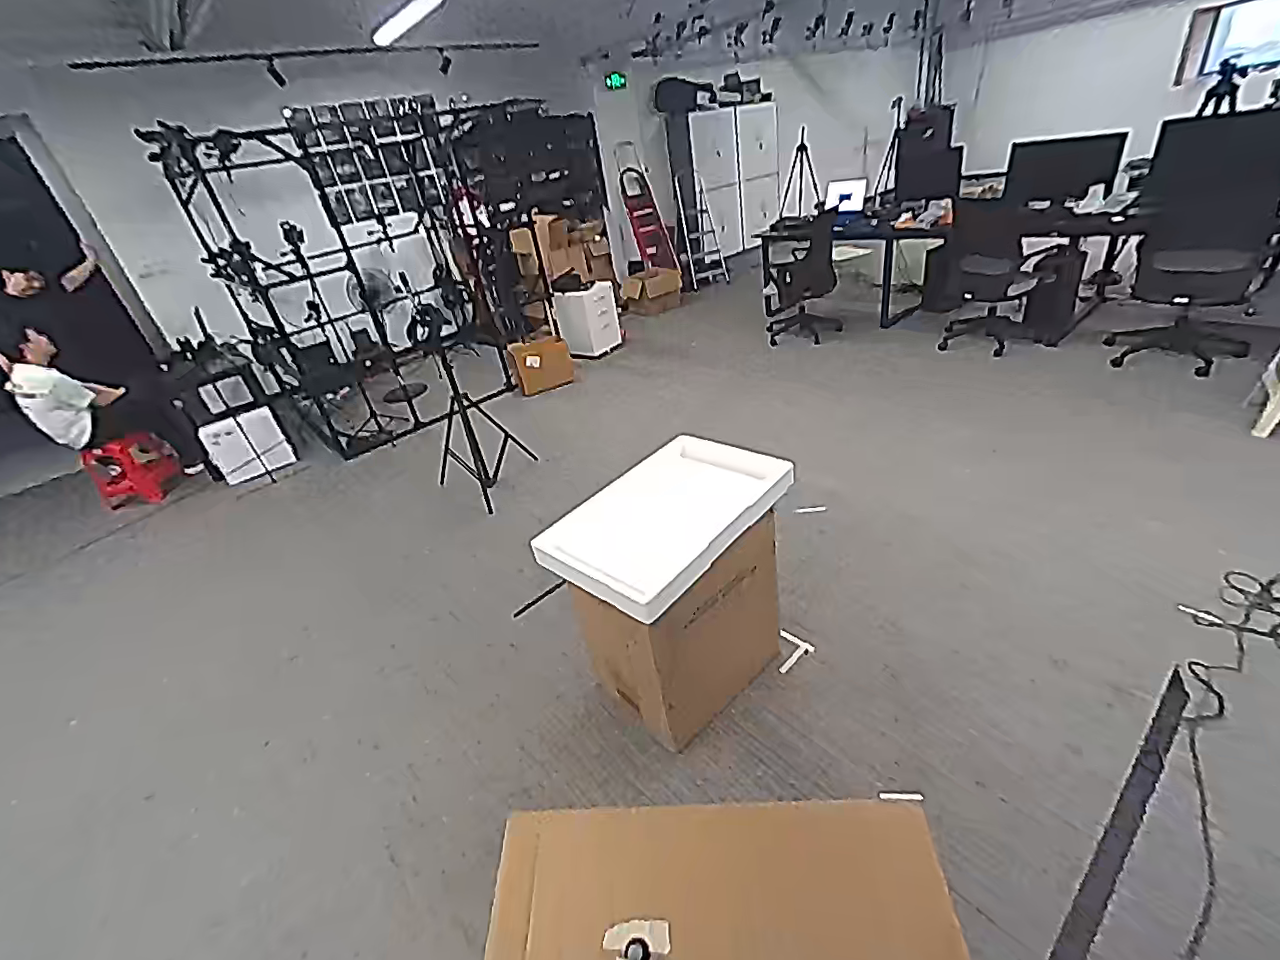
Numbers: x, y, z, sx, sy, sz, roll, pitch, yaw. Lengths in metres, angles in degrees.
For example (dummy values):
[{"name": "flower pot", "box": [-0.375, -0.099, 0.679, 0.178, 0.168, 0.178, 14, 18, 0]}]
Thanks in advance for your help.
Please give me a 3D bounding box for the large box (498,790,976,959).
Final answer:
[{"name": "large box", "box": [0.097, 0.527, 0.528, 0.408, 0.320, 0.320, -7, 45, 7]}]
